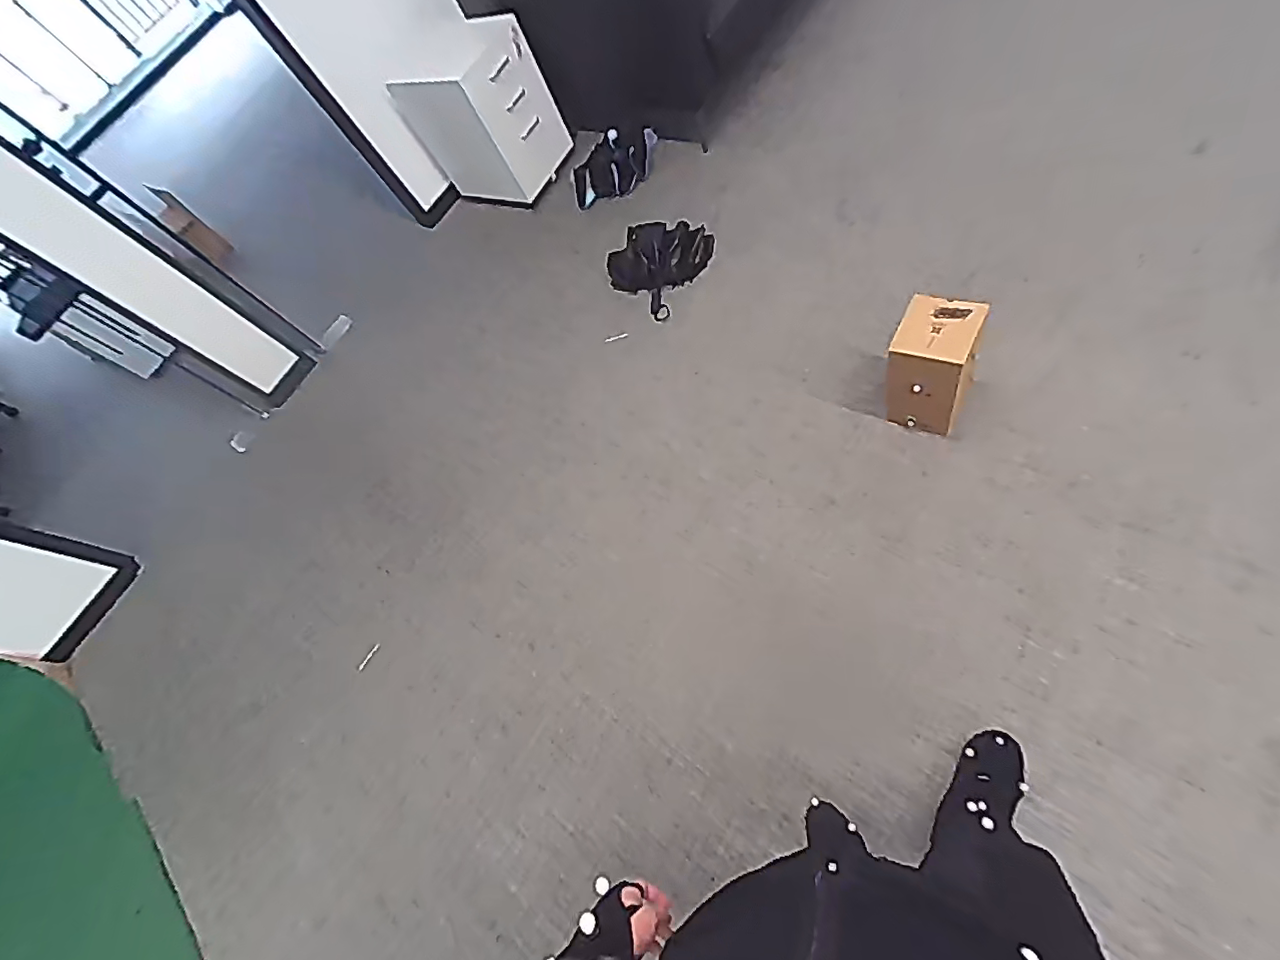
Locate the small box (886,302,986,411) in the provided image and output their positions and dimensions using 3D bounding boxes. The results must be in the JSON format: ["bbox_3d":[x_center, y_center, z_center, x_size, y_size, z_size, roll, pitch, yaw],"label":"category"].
[{"bbox_3d":[0.713,-0.300,1.321,0.168,0.176,0.179,23,75,30],"label":"small box"}]

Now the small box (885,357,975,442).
[{"bbox_3d":[0.773,-0.234,1.459,0.168,0.176,0.179,23,76,31],"label":"small box"}]
